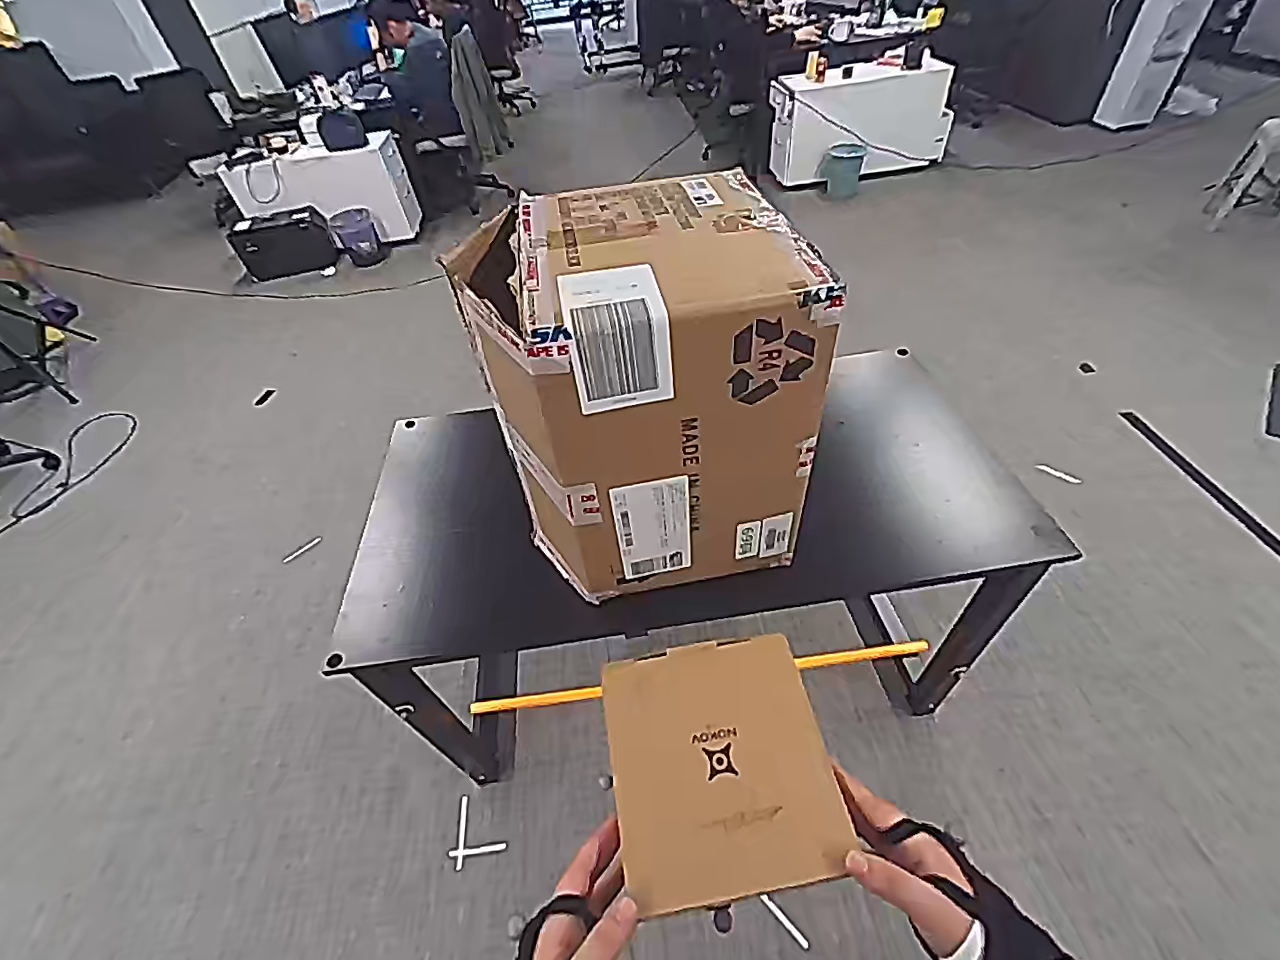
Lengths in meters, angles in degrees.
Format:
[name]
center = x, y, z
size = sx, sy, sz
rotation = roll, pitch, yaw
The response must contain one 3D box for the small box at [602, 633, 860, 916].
[small box]
center = 0.061, 0.261, 0.478
size = 0.168, 0.176, 0.179
rotation = -9, 51, -4
